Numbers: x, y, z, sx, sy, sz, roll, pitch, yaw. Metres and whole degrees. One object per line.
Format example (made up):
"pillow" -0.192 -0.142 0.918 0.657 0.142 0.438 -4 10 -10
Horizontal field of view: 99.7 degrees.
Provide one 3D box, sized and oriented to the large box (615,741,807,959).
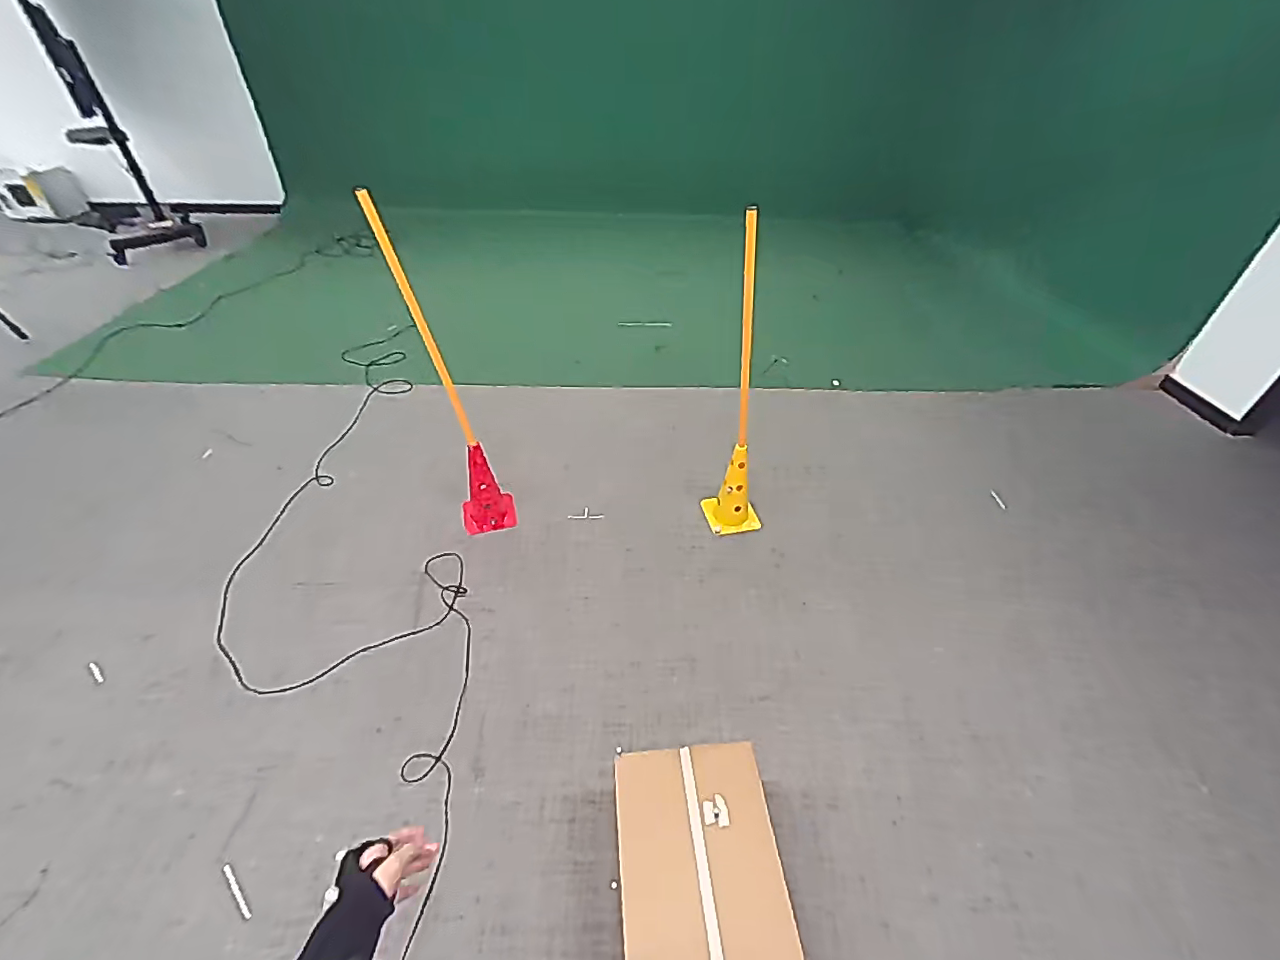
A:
"large box" 0.117 0.840 1.154 0.320 0.320 0.408 -2 39 -5
